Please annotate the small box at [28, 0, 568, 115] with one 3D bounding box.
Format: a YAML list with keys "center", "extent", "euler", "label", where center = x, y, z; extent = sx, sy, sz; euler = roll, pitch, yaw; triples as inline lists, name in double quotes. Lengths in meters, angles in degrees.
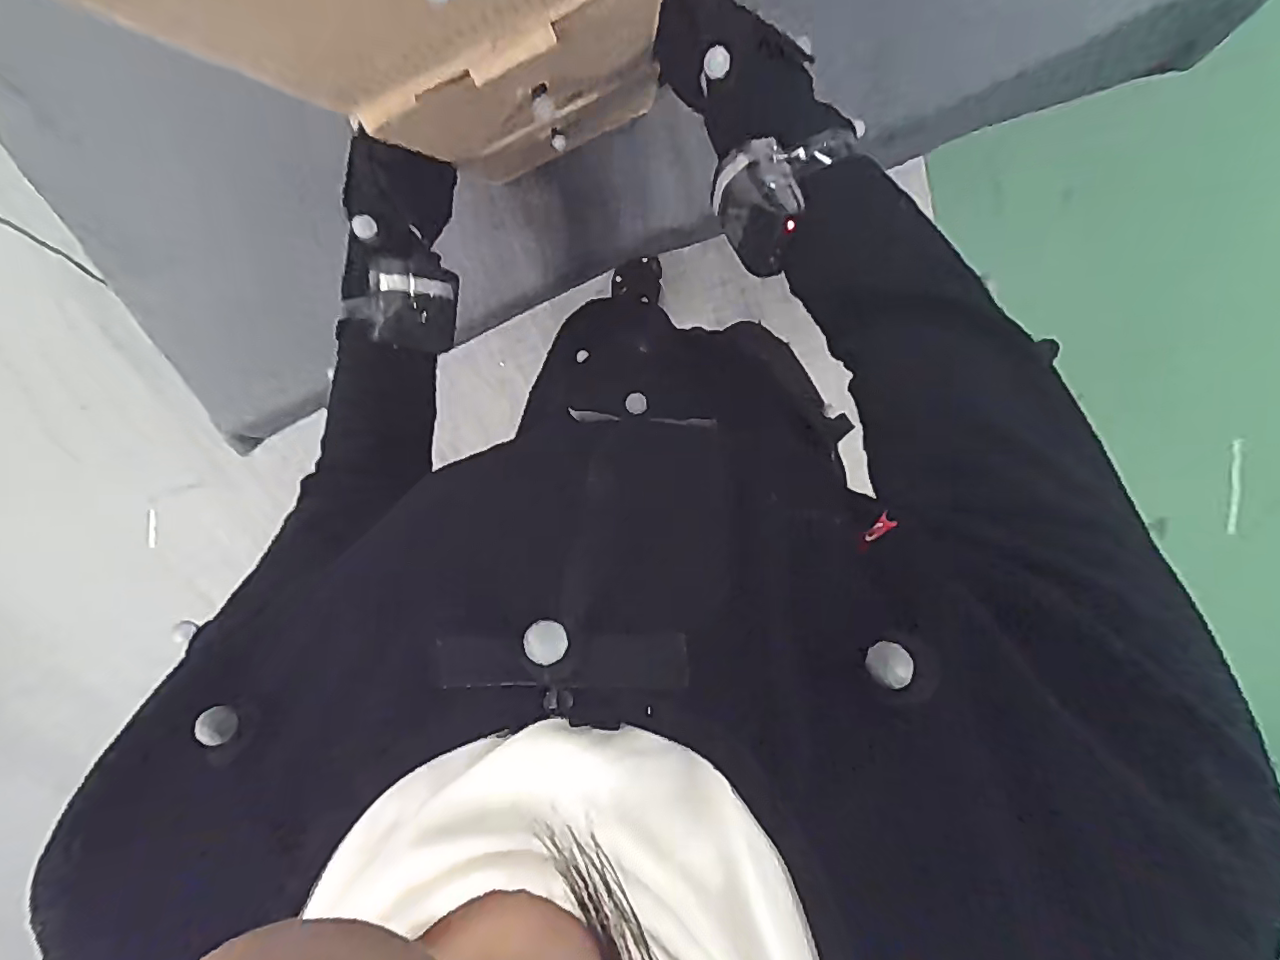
- center: [-0.089, -0.232, 0.139]
  extent: [0.179, 0.176, 0.168]
  euler: [-24, 114, 8]
  label: "small box"

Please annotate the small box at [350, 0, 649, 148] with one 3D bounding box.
- center: [-0.097, -0.303, 0.289]
  extent: [0.168, 0.176, 0.179]
  euler: [-22, 116, 9]
  label: "small box"

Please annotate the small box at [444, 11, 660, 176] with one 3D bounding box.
- center: [-0.097, -0.370, 0.438]
  extent: [0.179, 0.176, 0.168]
  euler: [-23, 115, 7]
  label: "small box"
